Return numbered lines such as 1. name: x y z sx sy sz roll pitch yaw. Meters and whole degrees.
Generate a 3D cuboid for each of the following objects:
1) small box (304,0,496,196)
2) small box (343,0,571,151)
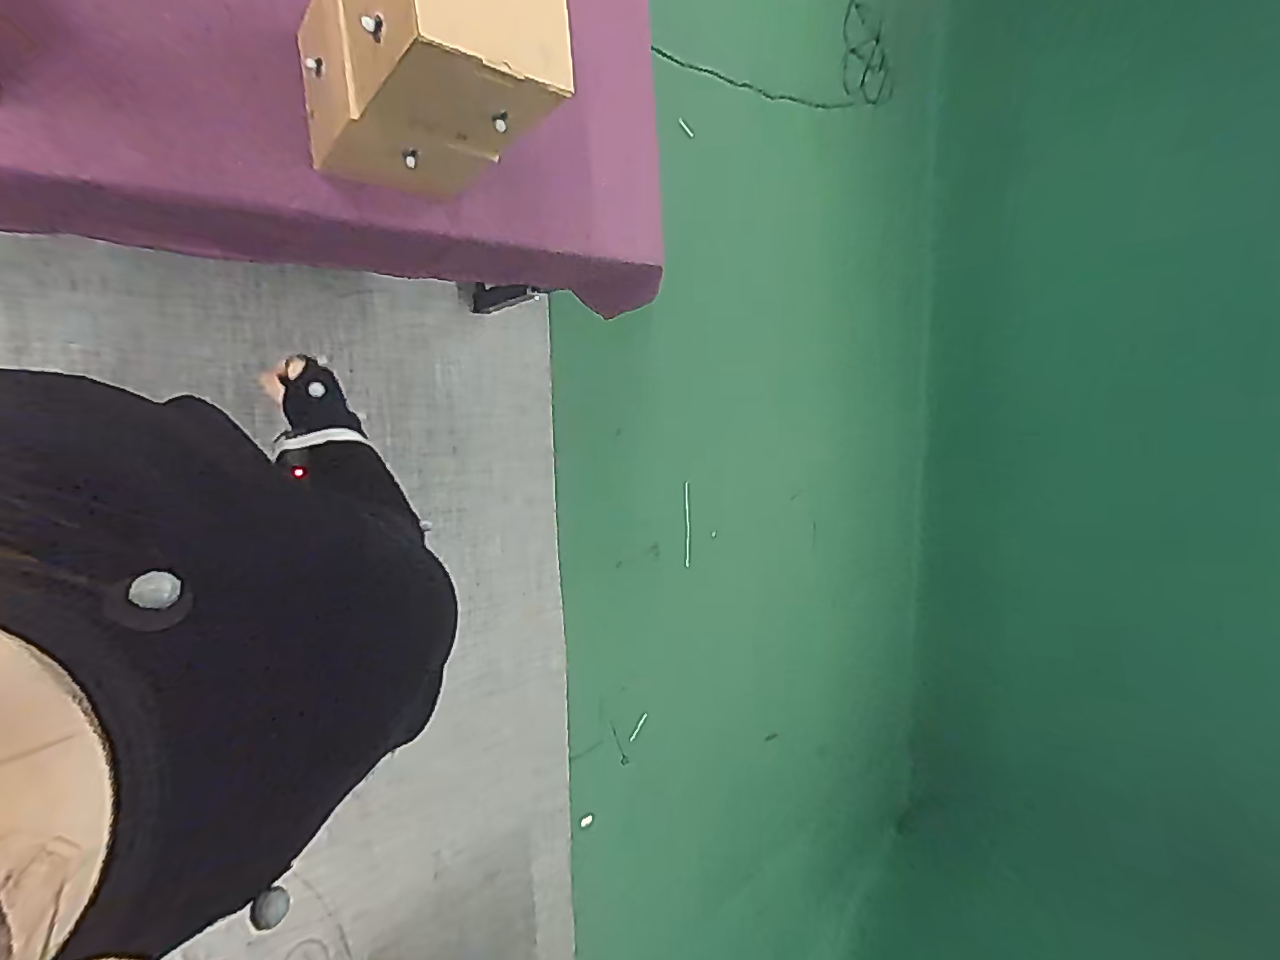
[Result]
1. small box: -0.303 -0.479 0.676 0.179 0.176 0.168 -9 101 -42
2. small box: -0.192 -0.474 0.557 0.168 0.176 0.179 -12 102 -42
